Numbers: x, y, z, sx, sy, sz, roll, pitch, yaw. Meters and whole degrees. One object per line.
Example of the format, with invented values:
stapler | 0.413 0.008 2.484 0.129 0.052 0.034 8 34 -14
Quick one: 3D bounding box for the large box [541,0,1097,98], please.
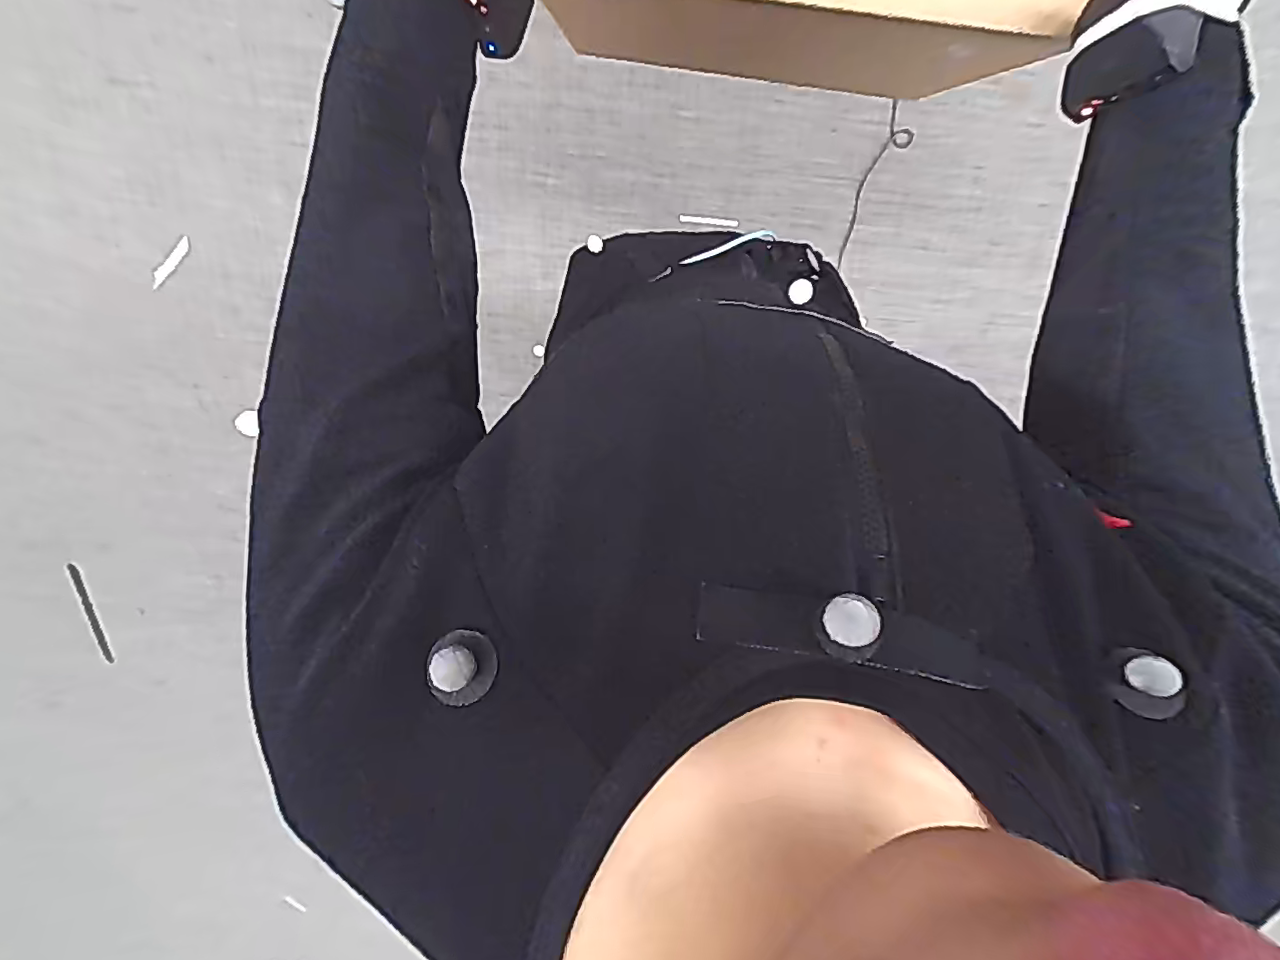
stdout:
large box | 0.130 -0.531 0.432 0.408 0.320 0.320 6 120 -2
